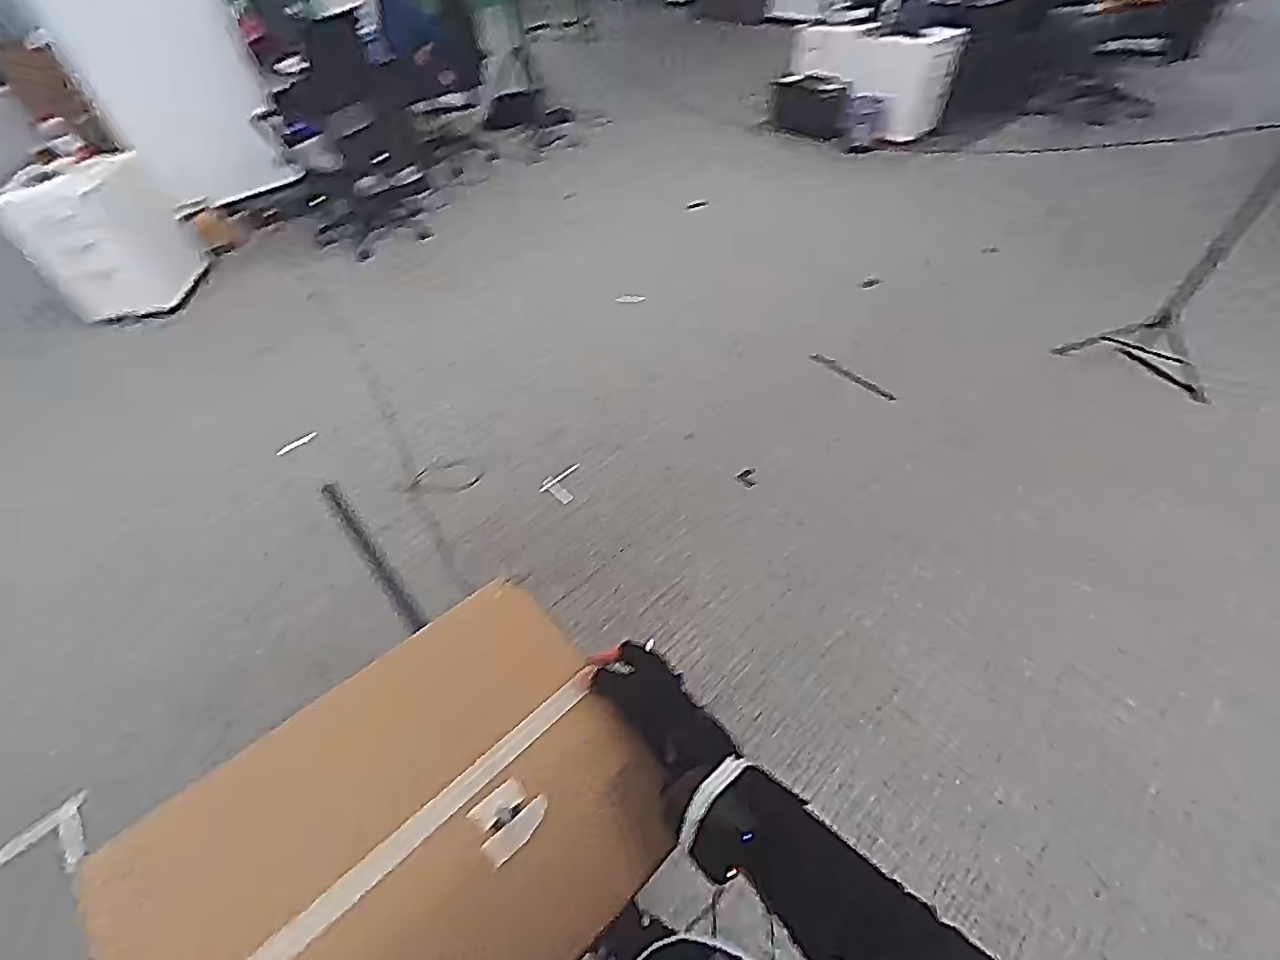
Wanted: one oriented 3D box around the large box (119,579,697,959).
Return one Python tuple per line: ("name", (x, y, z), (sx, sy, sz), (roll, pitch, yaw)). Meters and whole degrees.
("large box", (-0.199, 0.398, 0.590), (0.408, 0.320, 0.320), (-34, 62, -28))
